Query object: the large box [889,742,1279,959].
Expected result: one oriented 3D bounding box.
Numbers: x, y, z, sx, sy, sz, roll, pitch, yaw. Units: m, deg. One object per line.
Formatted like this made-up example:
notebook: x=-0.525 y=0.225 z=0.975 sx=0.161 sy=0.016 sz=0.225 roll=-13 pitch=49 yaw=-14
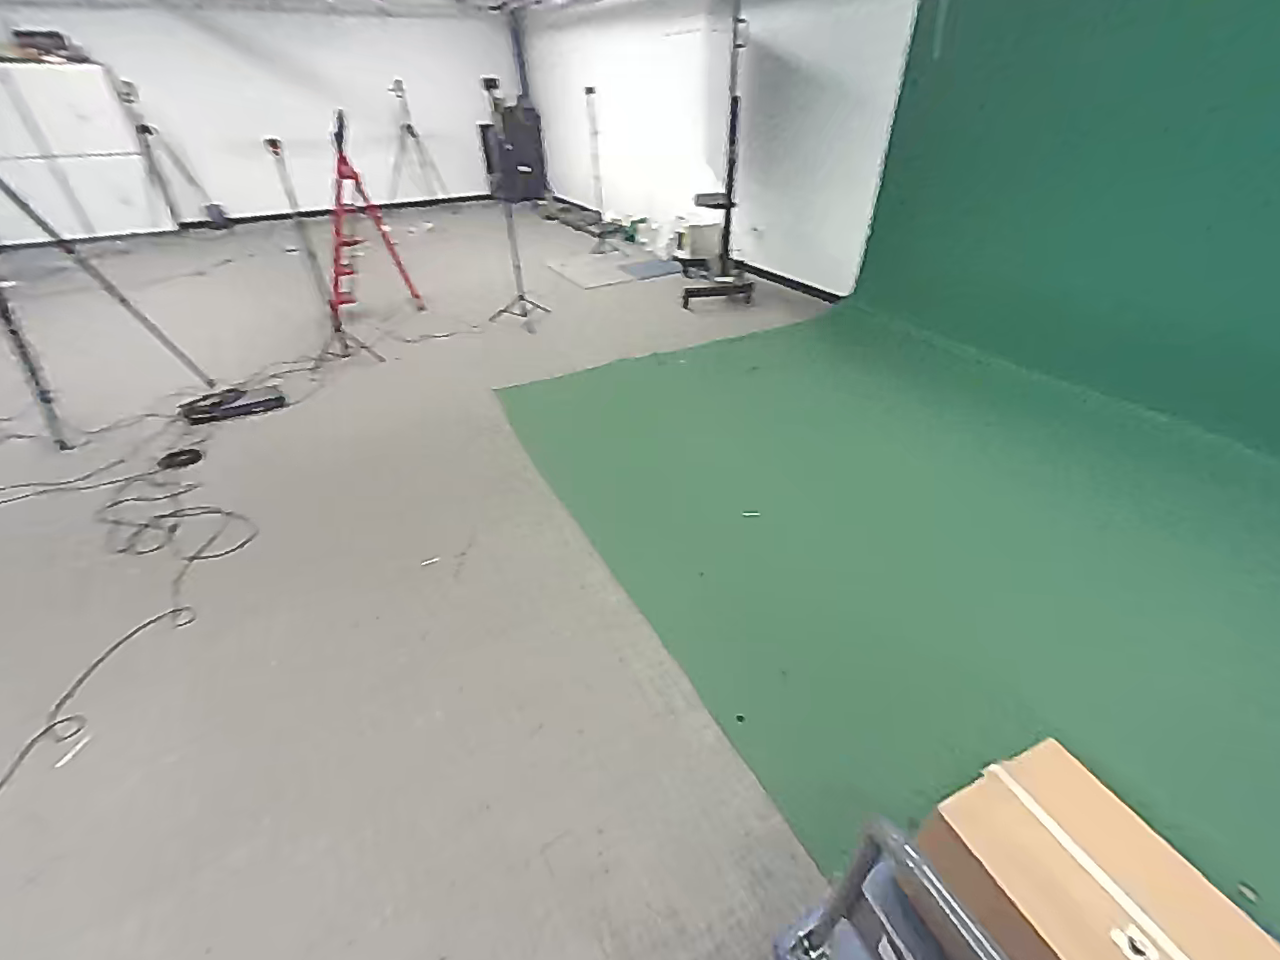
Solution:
large box: x=0.742 y=0.779 z=0.968 sx=0.320 sy=0.320 sz=0.408 roll=-15 pitch=39 yaw=-19
